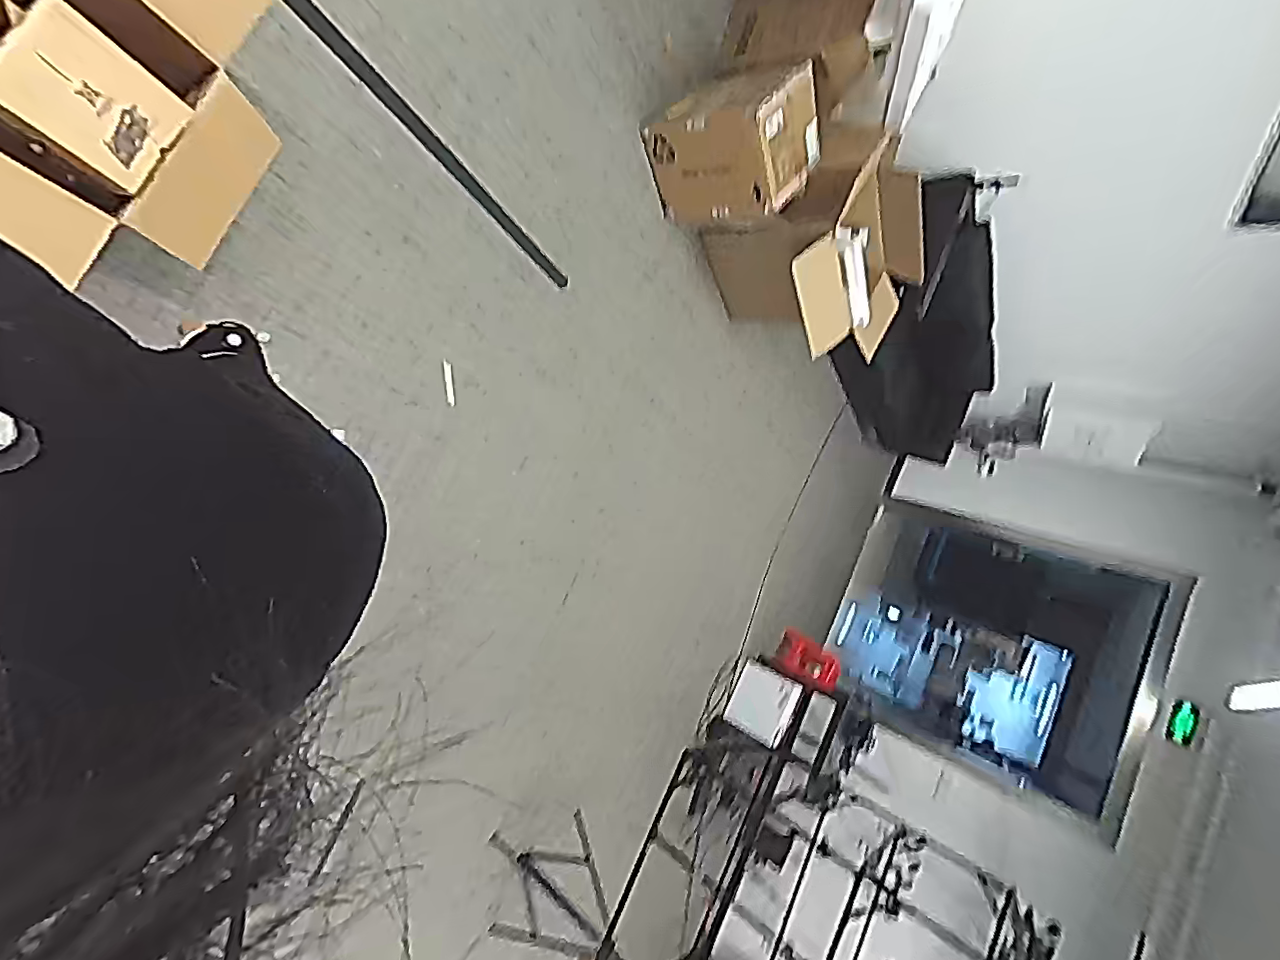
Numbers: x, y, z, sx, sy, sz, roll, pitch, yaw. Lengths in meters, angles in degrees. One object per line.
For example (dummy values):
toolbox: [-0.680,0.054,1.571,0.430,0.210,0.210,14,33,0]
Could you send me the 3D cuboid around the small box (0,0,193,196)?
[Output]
small box: [-0.834,-0.555,0.804,0.168,0.176,0.179,-64,146,-11]
